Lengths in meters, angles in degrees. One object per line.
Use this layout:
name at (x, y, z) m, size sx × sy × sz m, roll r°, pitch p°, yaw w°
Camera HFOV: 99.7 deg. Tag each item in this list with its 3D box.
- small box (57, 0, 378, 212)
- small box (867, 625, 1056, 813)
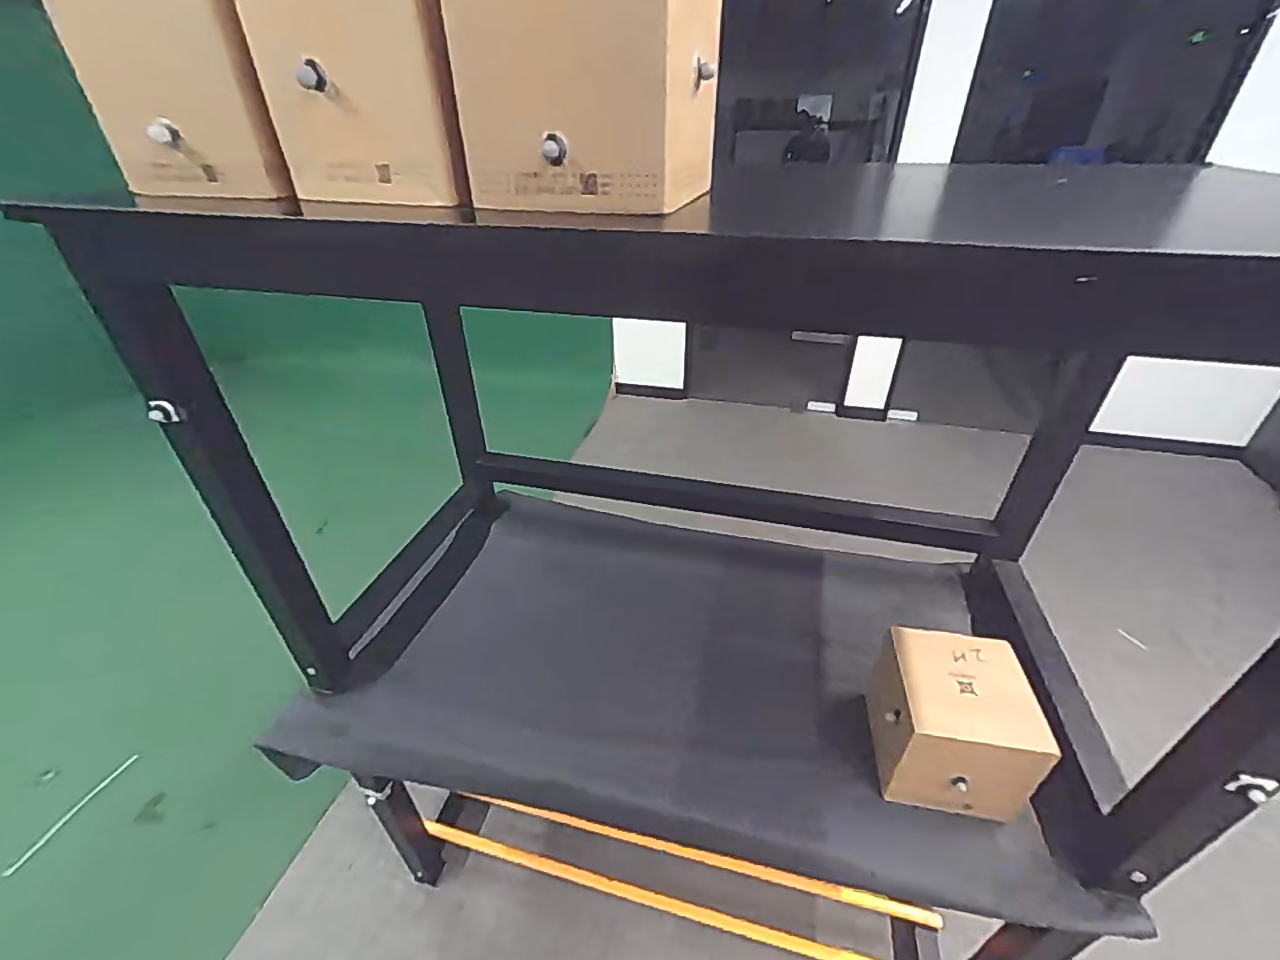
small box at (-0.389, -0.375, 0.536) m, size 0.168 × 0.176 × 0.179 m, roll 7°, pitch 36°, yaw 11°
small box at (0.437, 0.338, 0.770) m, size 0.168 × 0.176 × 0.179 m, roll 6°, pitch 34°, yaw 9°
